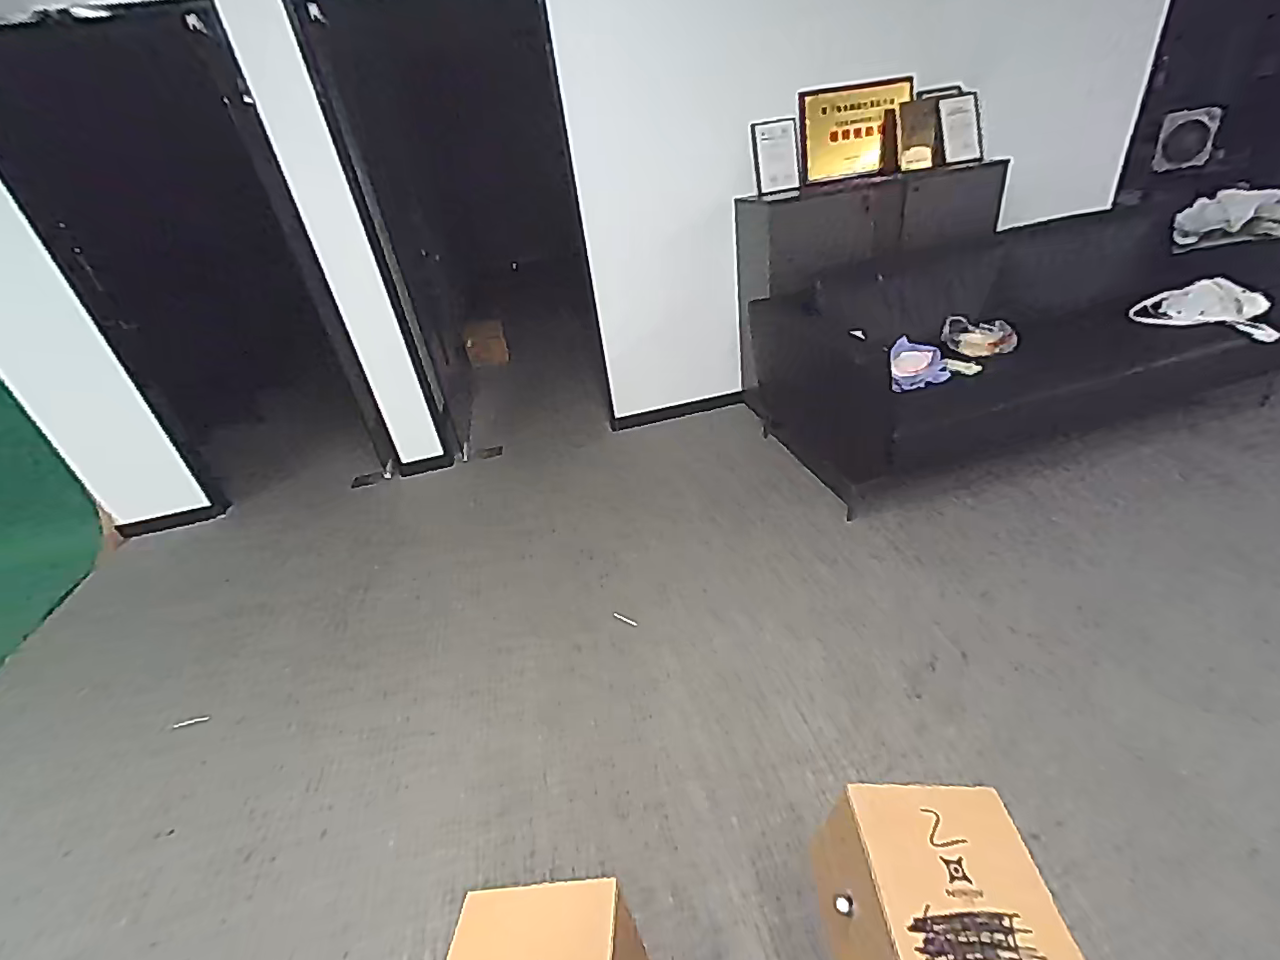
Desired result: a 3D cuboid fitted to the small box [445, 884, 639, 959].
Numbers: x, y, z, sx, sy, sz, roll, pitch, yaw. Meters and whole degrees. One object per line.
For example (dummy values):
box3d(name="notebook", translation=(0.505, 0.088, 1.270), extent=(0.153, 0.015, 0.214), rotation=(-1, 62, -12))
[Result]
box3d(name="small box", translation=(-0.091, 0.527, 0.508), extent=(0.168, 0.176, 0.179), rotation=(-11, 23, 8))
